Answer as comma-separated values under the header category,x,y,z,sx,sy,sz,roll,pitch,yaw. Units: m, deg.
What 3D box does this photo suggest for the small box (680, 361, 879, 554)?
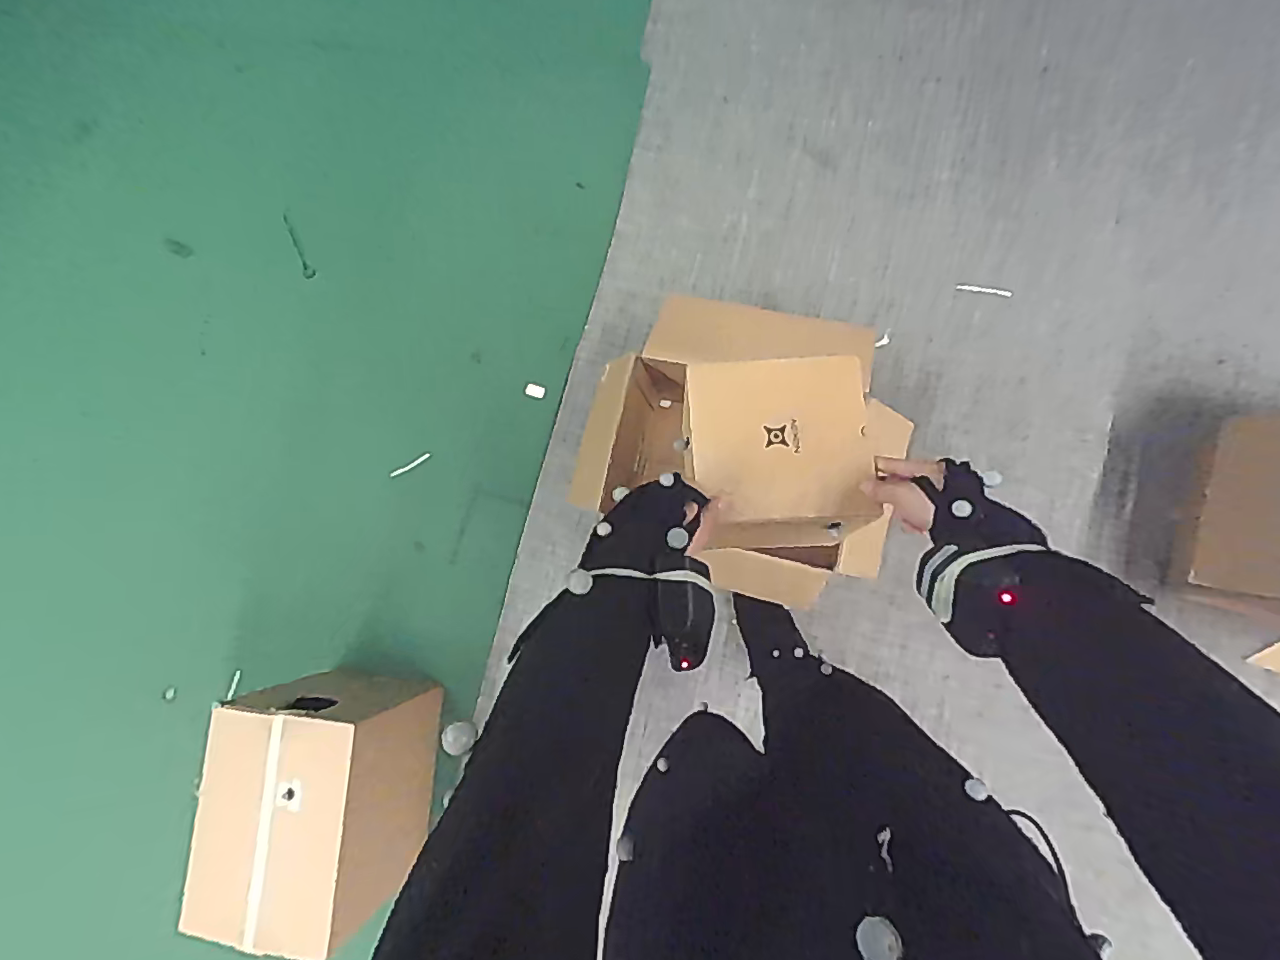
category,x,y,z,sx,sy,sz,roll,pitch,yaw
small box,0.134,-0.014,0.595,0.179,0.176,0.168,-3,73,2
